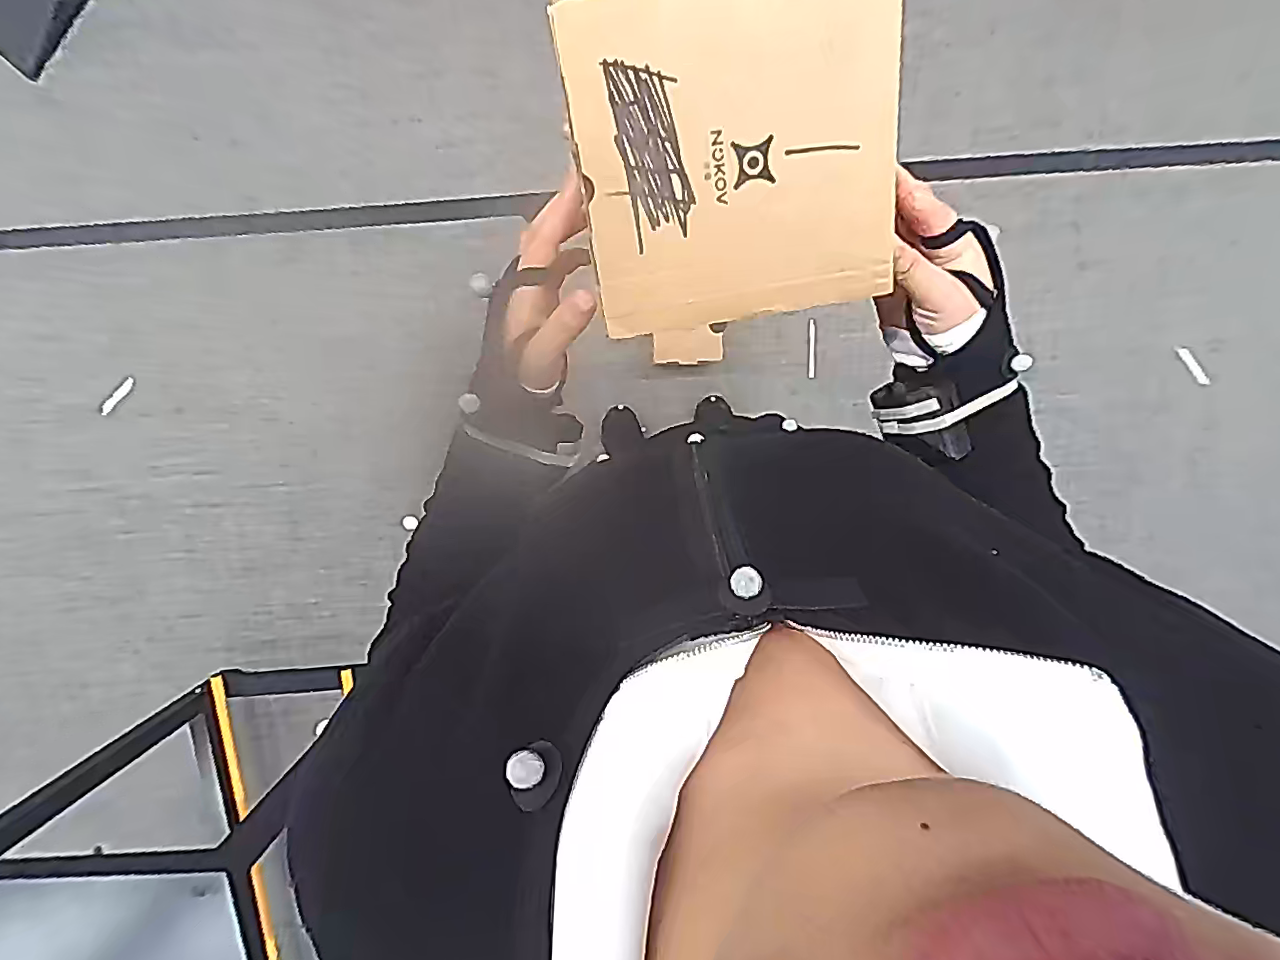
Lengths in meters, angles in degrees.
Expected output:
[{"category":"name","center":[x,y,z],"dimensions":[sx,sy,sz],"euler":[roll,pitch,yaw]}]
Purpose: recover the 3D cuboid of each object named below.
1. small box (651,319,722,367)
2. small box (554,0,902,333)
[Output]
[{"category":"small box","center":[0.113,-0.375,1.354],"dimensions":[0.168,0.176,0.179],"euler":[-1,101,1]},{"category":"small box","center":[0.052,-0.204,0.369],"dimensions":[0.179,0.176,0.168],"euler":[-8,113,2]}]
